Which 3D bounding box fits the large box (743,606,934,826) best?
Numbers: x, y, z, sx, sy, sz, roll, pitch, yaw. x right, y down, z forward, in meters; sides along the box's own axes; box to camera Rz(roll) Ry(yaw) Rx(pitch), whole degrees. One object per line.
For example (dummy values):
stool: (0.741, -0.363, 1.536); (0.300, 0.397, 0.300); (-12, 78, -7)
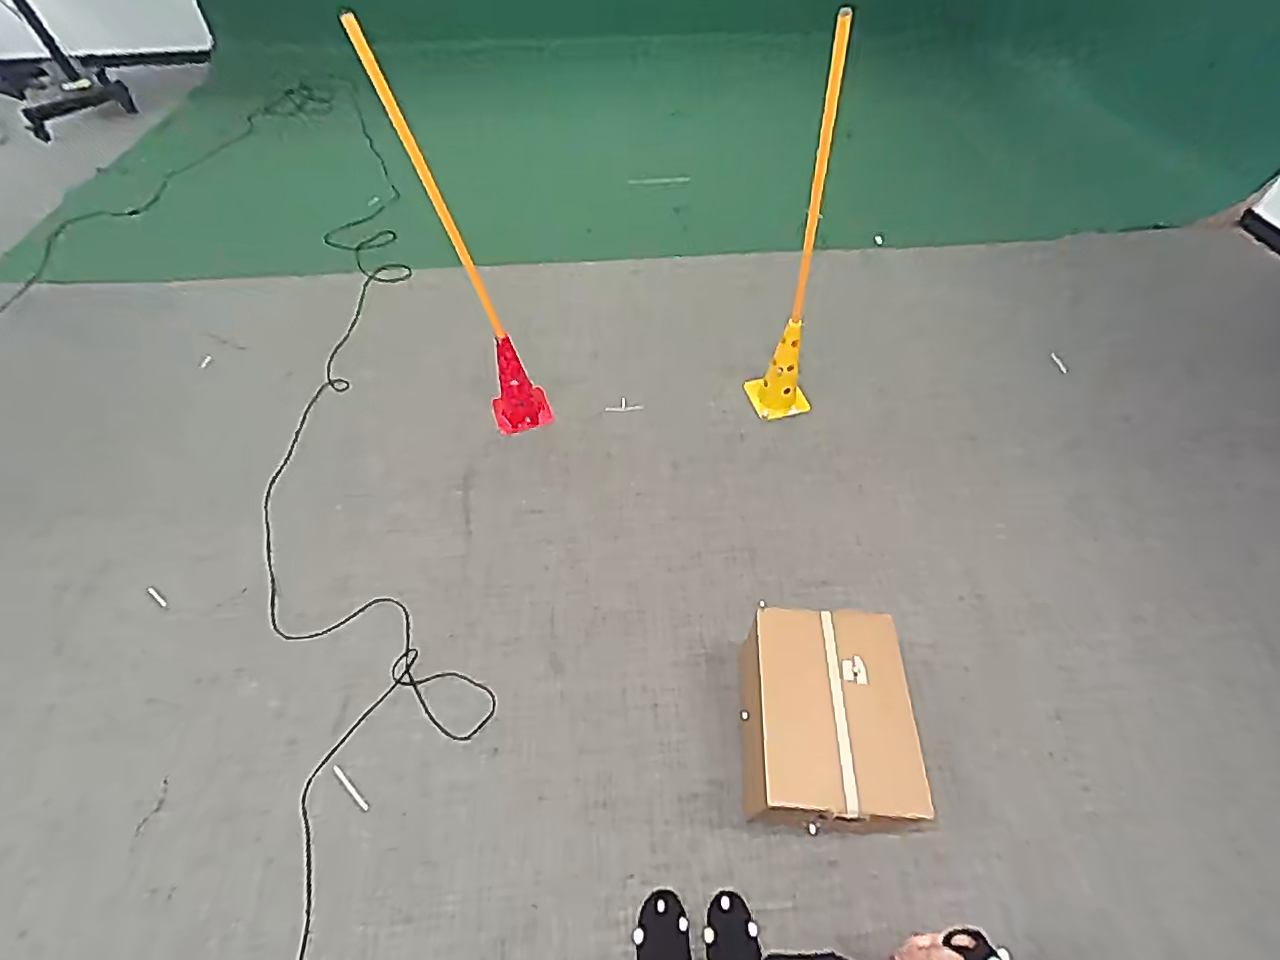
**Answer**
large box: (0.418, 0.549, 1.258); (0.320, 0.320, 0.408); (3, 52, 3)
